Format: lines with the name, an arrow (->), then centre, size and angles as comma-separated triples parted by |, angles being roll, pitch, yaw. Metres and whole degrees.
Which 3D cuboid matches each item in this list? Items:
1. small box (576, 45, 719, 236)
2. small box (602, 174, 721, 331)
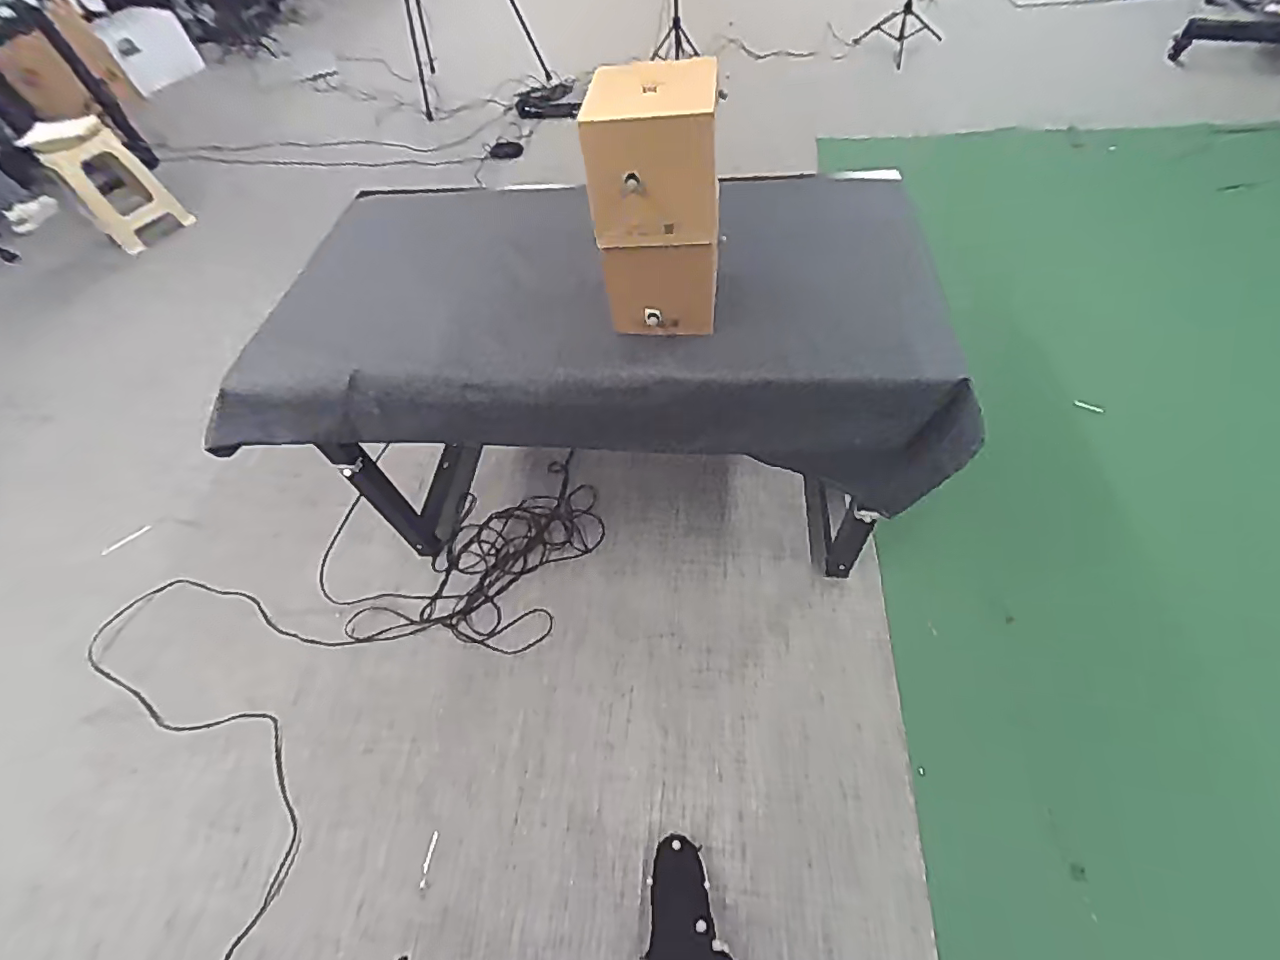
small box -> 0.022, -0.449, 0.733 | 0.168, 0.176, 0.179 | 1, 55, 8
small box -> 0.043, -0.364, 0.870 | 0.168, 0.176, 0.179 | 2, 57, 9
